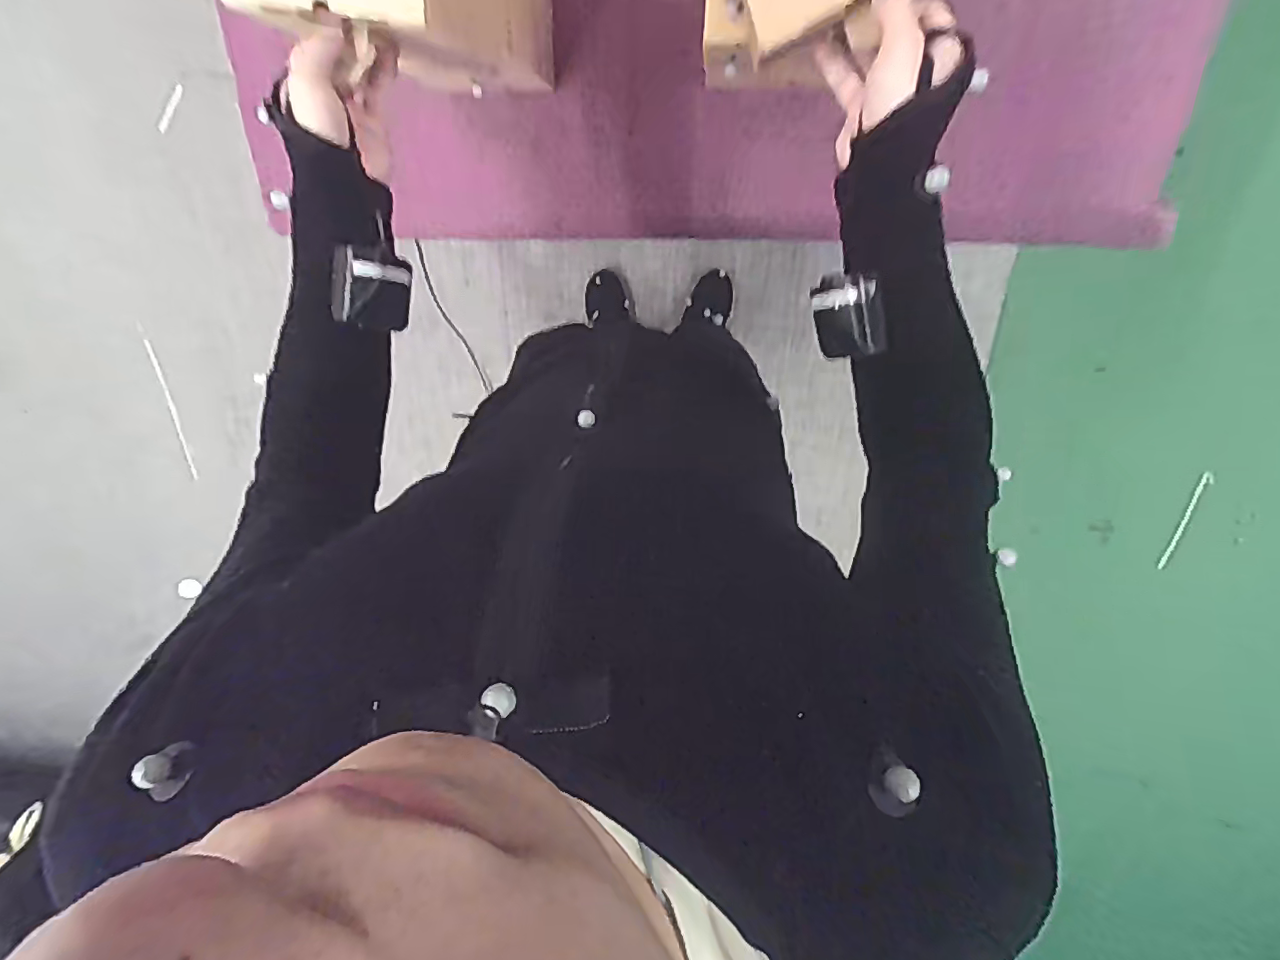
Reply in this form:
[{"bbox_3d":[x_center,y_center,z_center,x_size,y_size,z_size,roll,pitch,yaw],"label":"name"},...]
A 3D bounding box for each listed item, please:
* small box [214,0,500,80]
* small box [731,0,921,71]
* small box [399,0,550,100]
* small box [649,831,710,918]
[{"bbox_3d":[-0.218,-0.449,0.431,0.168,0.176,0.179,9,119,4],"label":"small box"},{"bbox_3d":[0.144,-0.439,0.403,0.168,0.176,0.179,-16,118,18],"label":"small box"},{"bbox_3d":[-0.202,-0.548,0.599,0.168,0.176,0.179,4,114,5],"label":"small box"},{"bbox_3d":[0.130,1.297,1.783,0.179,0.176,0.168,7,114,3],"label":"small box"}]
